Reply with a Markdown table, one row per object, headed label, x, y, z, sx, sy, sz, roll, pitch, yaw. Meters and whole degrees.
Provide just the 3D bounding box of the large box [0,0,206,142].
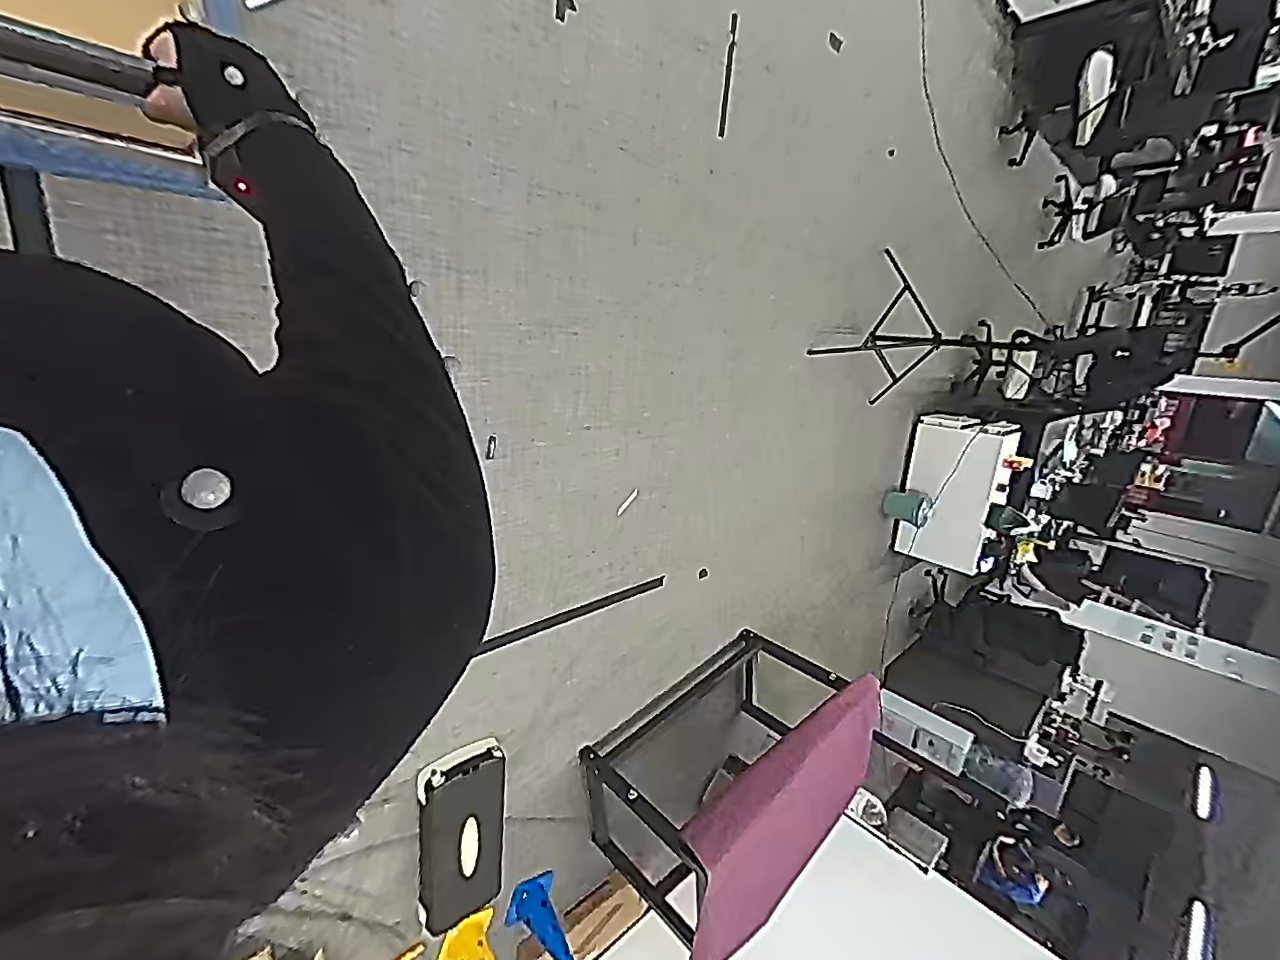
| label | x | y | z | sx | sy | sz | roll | pitch | yaw |
| --- | --- | --- | --- | --- | --- | --- | --- | --- | --- |
| large box | -0.847 | -0.684 | 0.688 | 0.408 | 0.320 | 0.320 | -10 | 111 | -44 |
